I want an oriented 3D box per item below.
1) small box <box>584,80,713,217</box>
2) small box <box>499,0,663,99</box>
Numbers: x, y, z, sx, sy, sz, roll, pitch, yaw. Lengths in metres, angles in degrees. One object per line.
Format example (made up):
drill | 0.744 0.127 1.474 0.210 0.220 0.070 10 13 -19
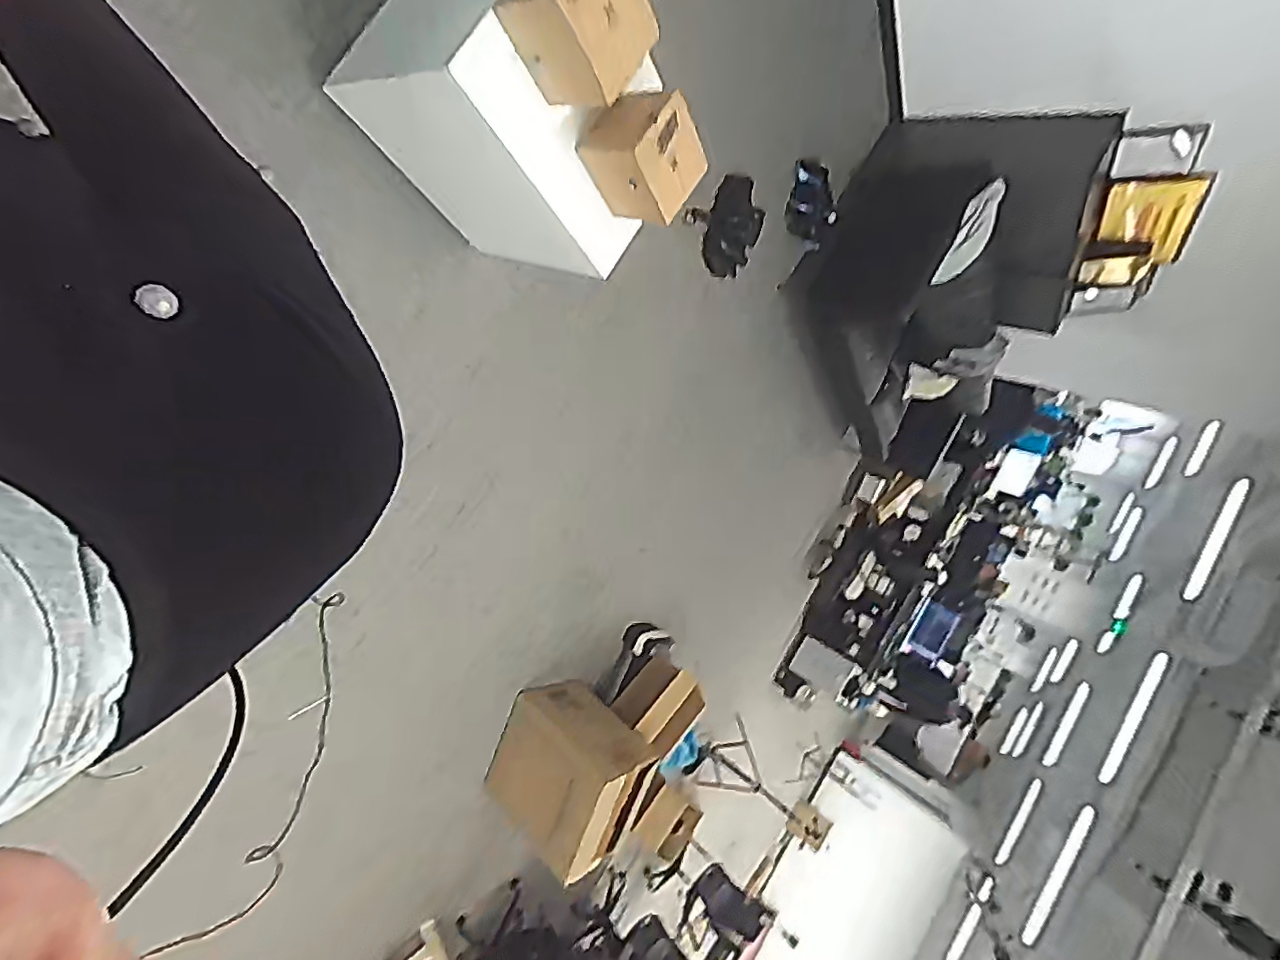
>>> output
small box | 0.018 -0.674 1.112 0.168 0.176 0.179 -56 144 -7
small box | -0.097 -0.780 0.903 0.168 0.176 0.179 -58 145 -6
